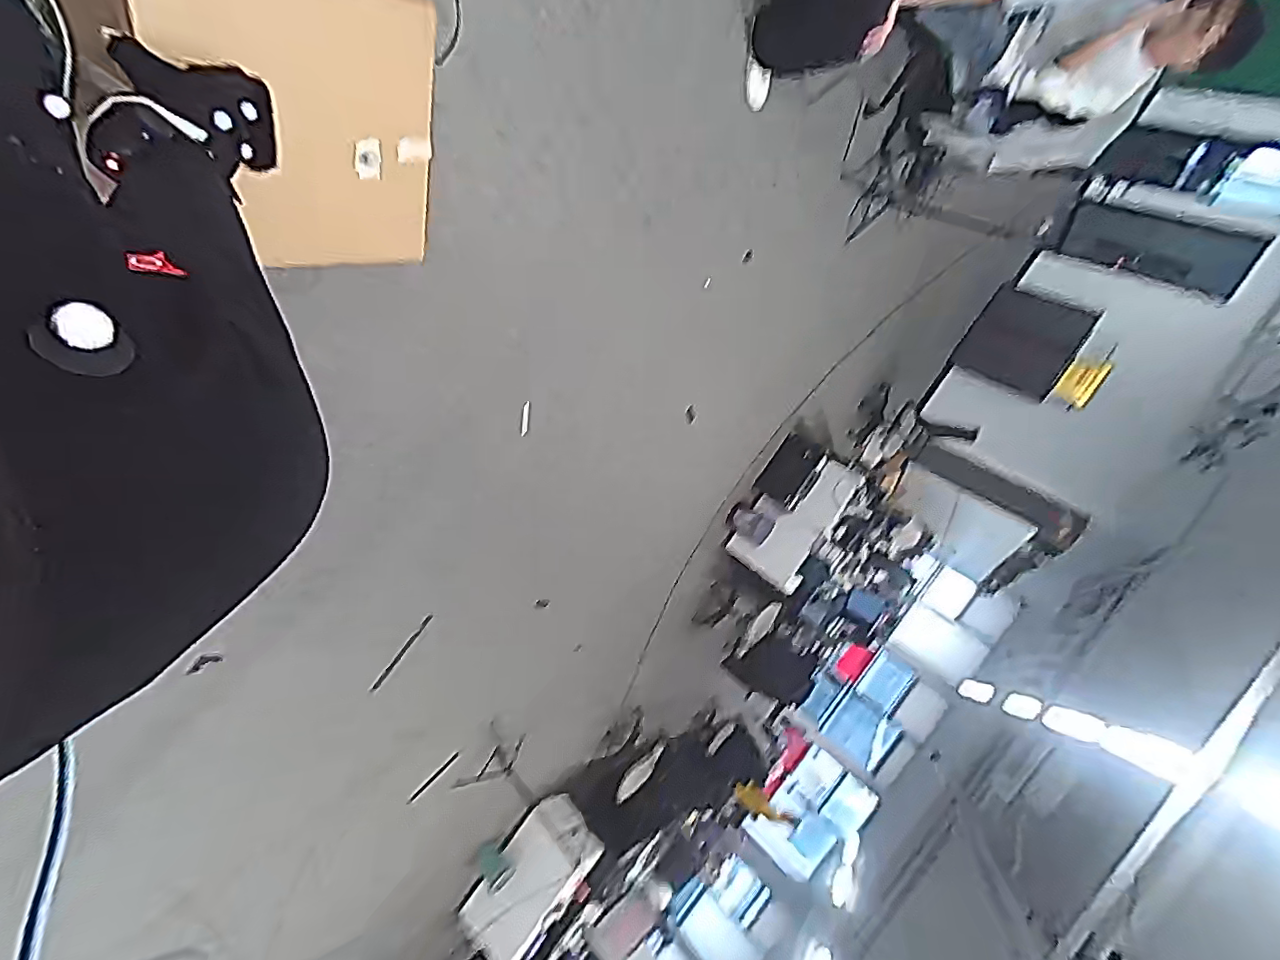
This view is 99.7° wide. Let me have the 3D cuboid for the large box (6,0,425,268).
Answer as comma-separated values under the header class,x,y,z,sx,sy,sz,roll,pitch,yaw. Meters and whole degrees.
class,x,y,z,sx,sy,sz,roll,pitch,yaw
large box,-0.538,-0.509,0.713,0.320,0.408,0.320,-26,147,-49
